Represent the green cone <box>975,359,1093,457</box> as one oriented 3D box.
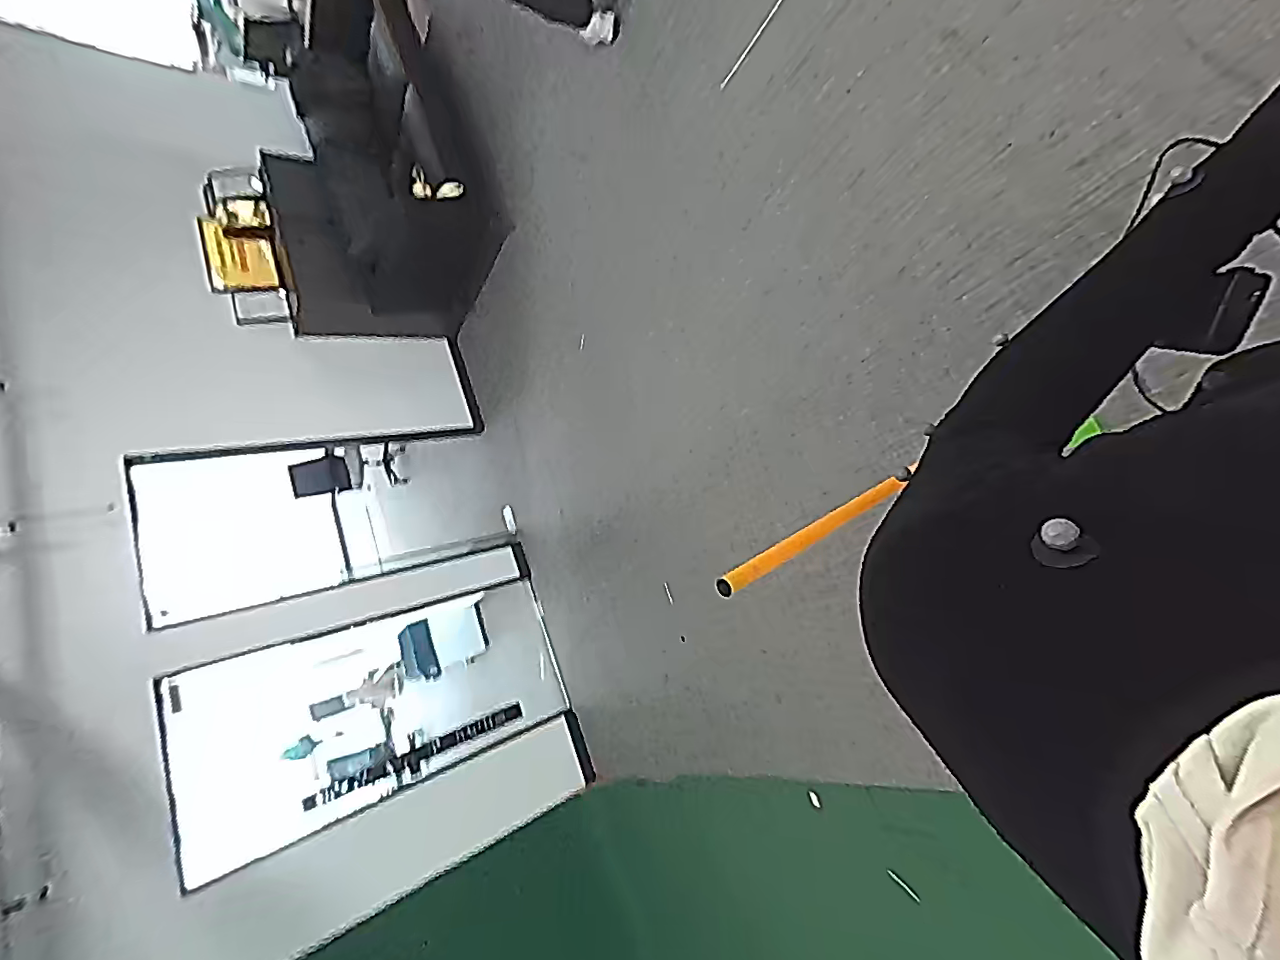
[{"bbox_3d":[0.880,-0.155,1.283,0.202,0.368,0.200,-35,72,48],"label":"green cone"}]
